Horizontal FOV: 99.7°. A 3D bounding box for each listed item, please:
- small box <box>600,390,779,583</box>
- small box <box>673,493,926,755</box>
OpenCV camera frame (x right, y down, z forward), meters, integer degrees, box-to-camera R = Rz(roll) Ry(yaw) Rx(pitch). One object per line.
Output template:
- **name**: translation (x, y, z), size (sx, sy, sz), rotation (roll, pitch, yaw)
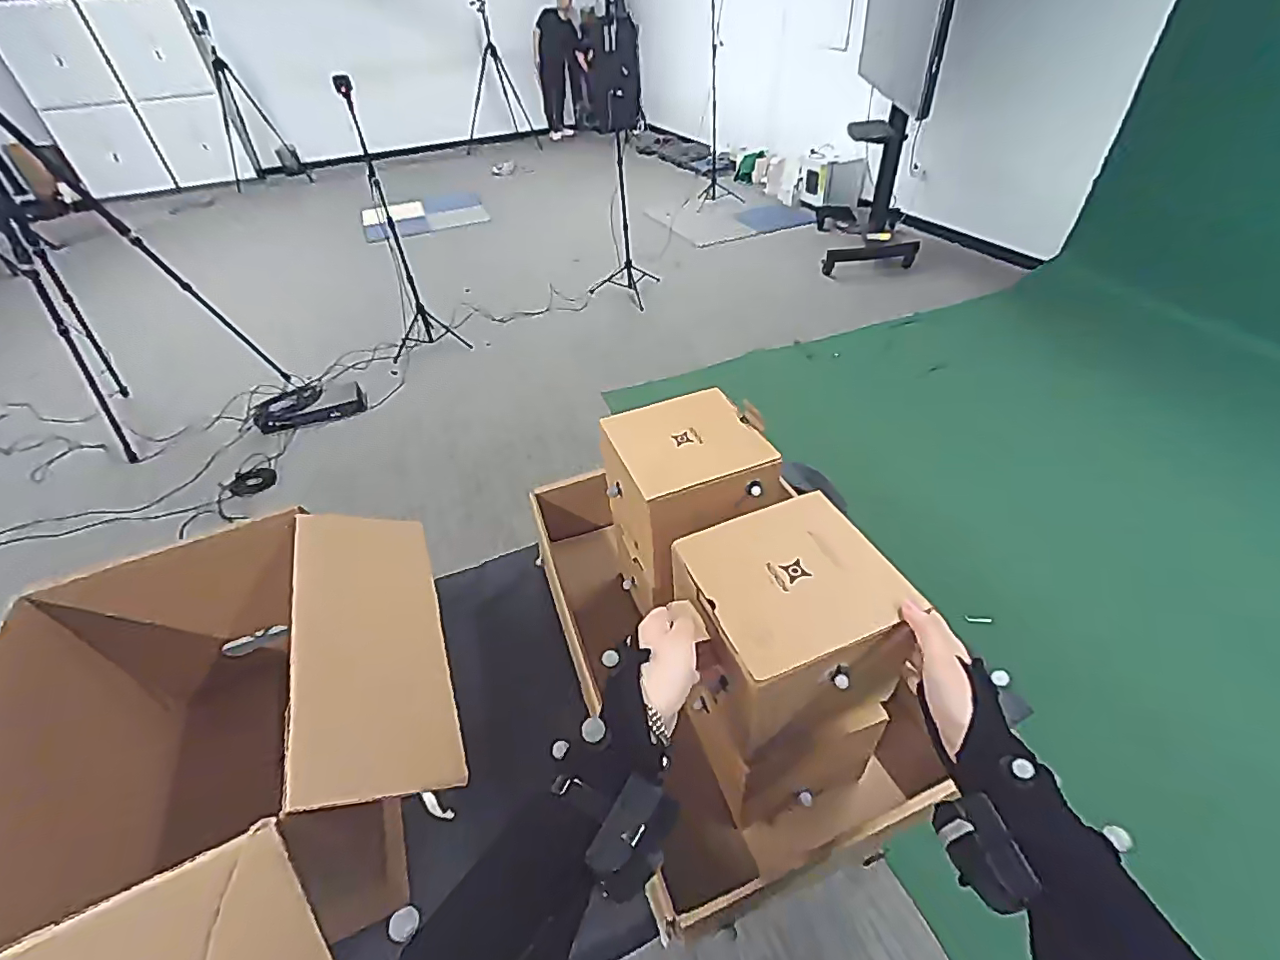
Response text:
- **small box**: translation (0.061, 0.010, 0.719), size (0.179, 0.176, 0.168), rotation (-17, 45, -14)
- **small box**: translation (0.147, 0.147, 0.555), size (0.179, 0.176, 0.168), rotation (-18, 44, -14)
